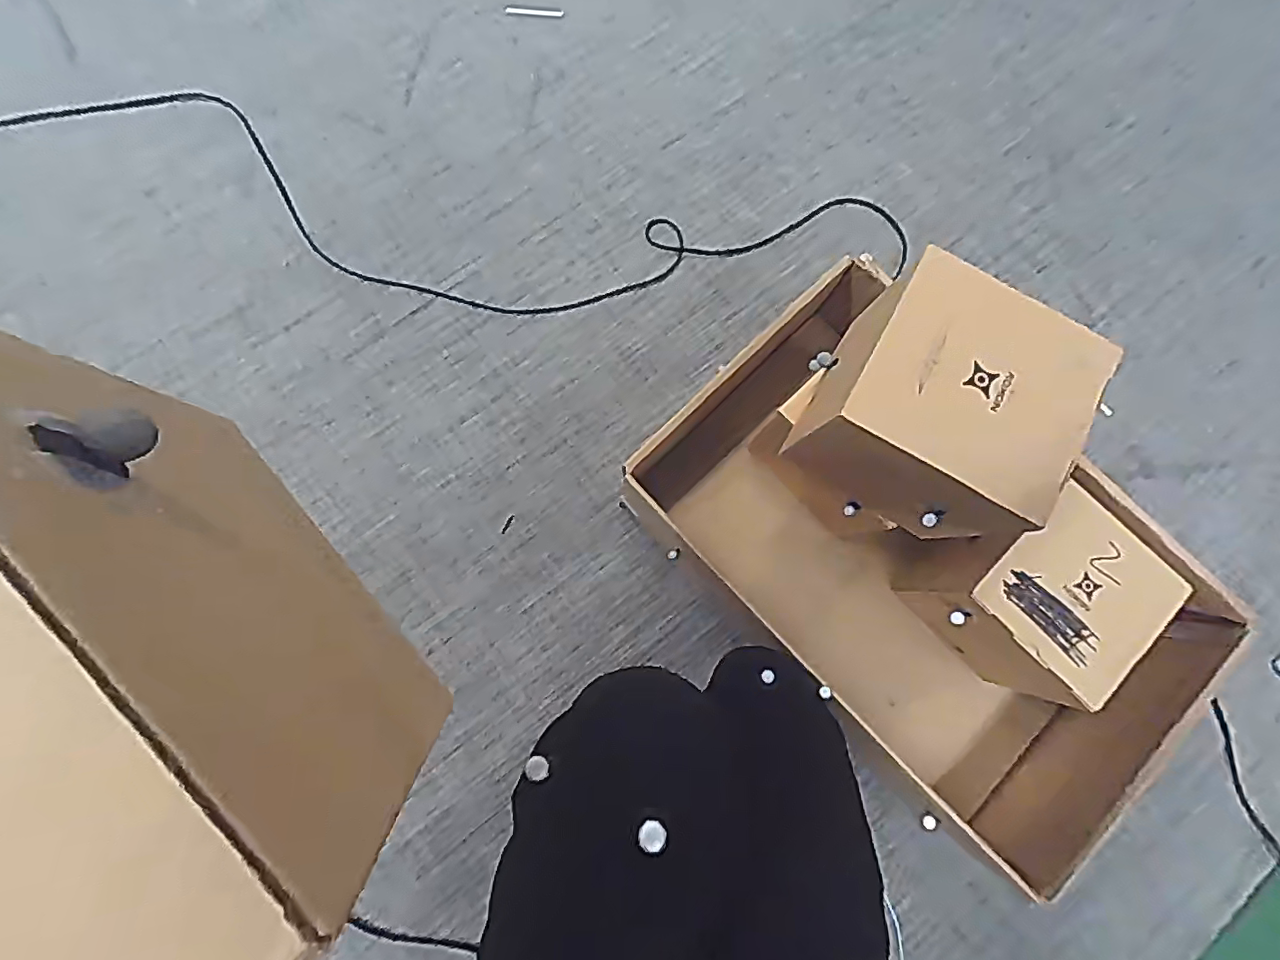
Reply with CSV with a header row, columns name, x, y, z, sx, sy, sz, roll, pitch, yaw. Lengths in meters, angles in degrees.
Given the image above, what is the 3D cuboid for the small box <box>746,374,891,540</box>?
name,x,y,z,sx,sy,sz,roll,pitch,yaw
small box,0.256,-0.040,0.659,0.168,0.176,0.179,-43,86,-8

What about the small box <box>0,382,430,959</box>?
name,x,y,z,sx,sy,sz,roll,pitch,yaw
small box,-0.195,0.089,0.167,0.168,0.176,0.179,-38,92,-12

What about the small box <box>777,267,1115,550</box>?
name,x,y,z,sx,sy,sz,roll,pitch,yaw
small box,0.256,-0.049,0.496,0.179,0.176,0.168,30,81,3
